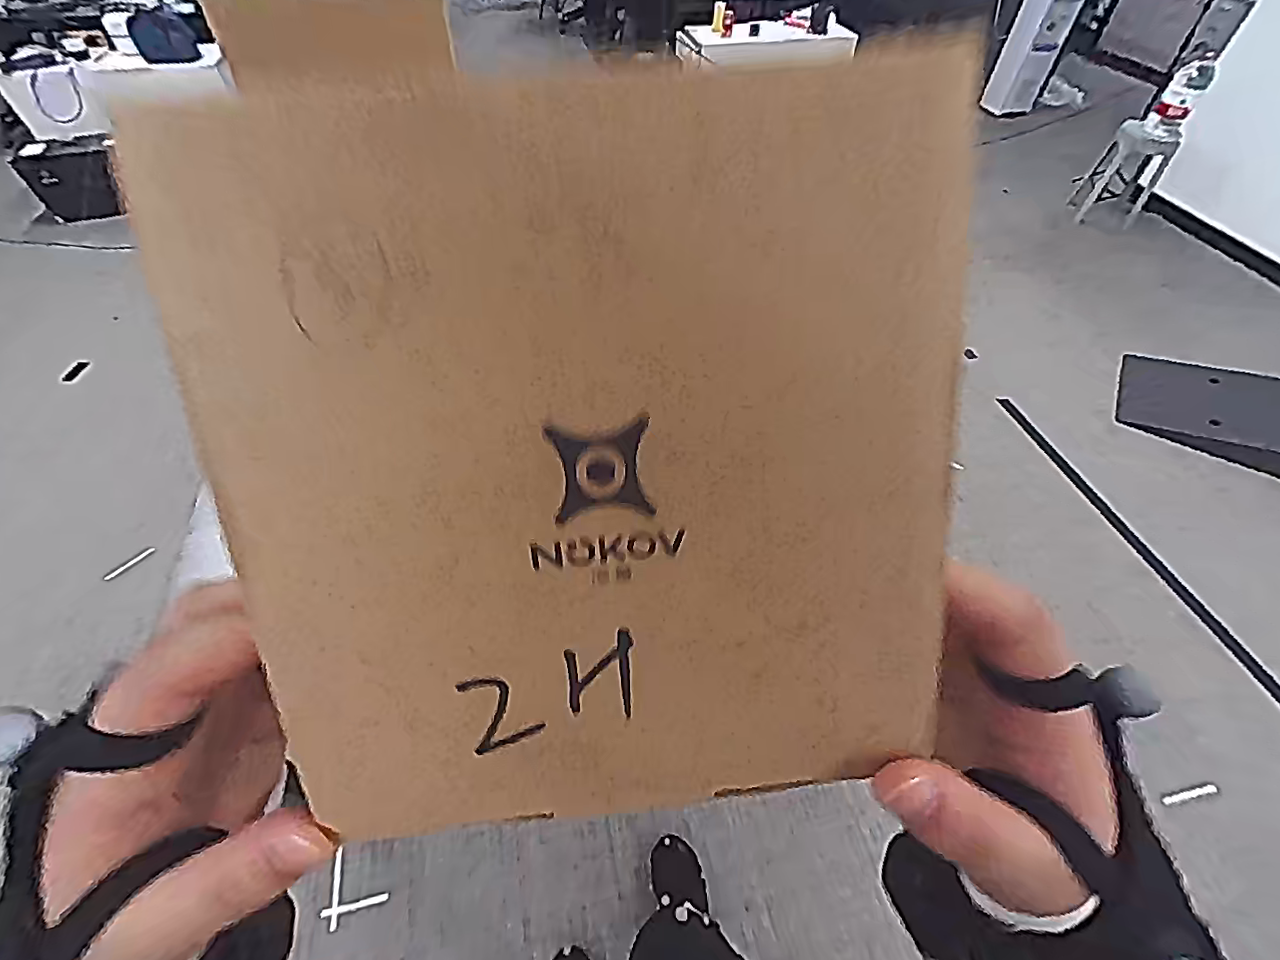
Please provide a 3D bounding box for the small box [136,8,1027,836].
[{"bbox_3d":[-0.007,-0.019,0.197,0.168,0.179,0.176,-5,16,-2],"label":"small box"}]
